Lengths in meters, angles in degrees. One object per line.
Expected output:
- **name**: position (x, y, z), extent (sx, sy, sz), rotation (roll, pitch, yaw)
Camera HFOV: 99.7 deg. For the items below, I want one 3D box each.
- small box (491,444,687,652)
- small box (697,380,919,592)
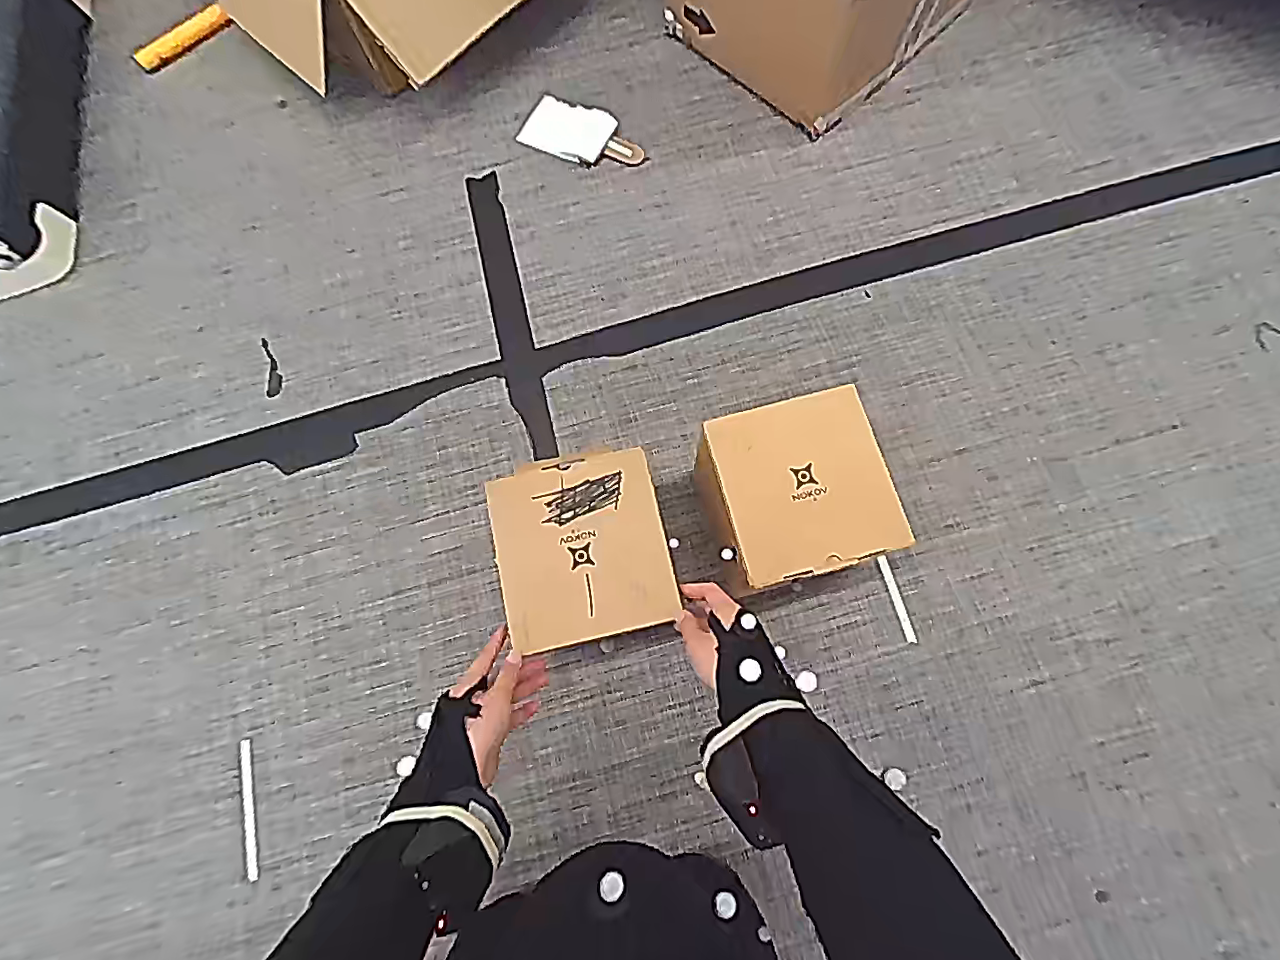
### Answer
- **small box**: position (-0.051, 0.082, 0.595), extent (0.168, 0.176, 0.179), rotation (-13, 76, -1)
- **small box**: position (0.167, 0.017, 0.607), extent (0.168, 0.176, 0.179), rotation (-15, 75, -2)
